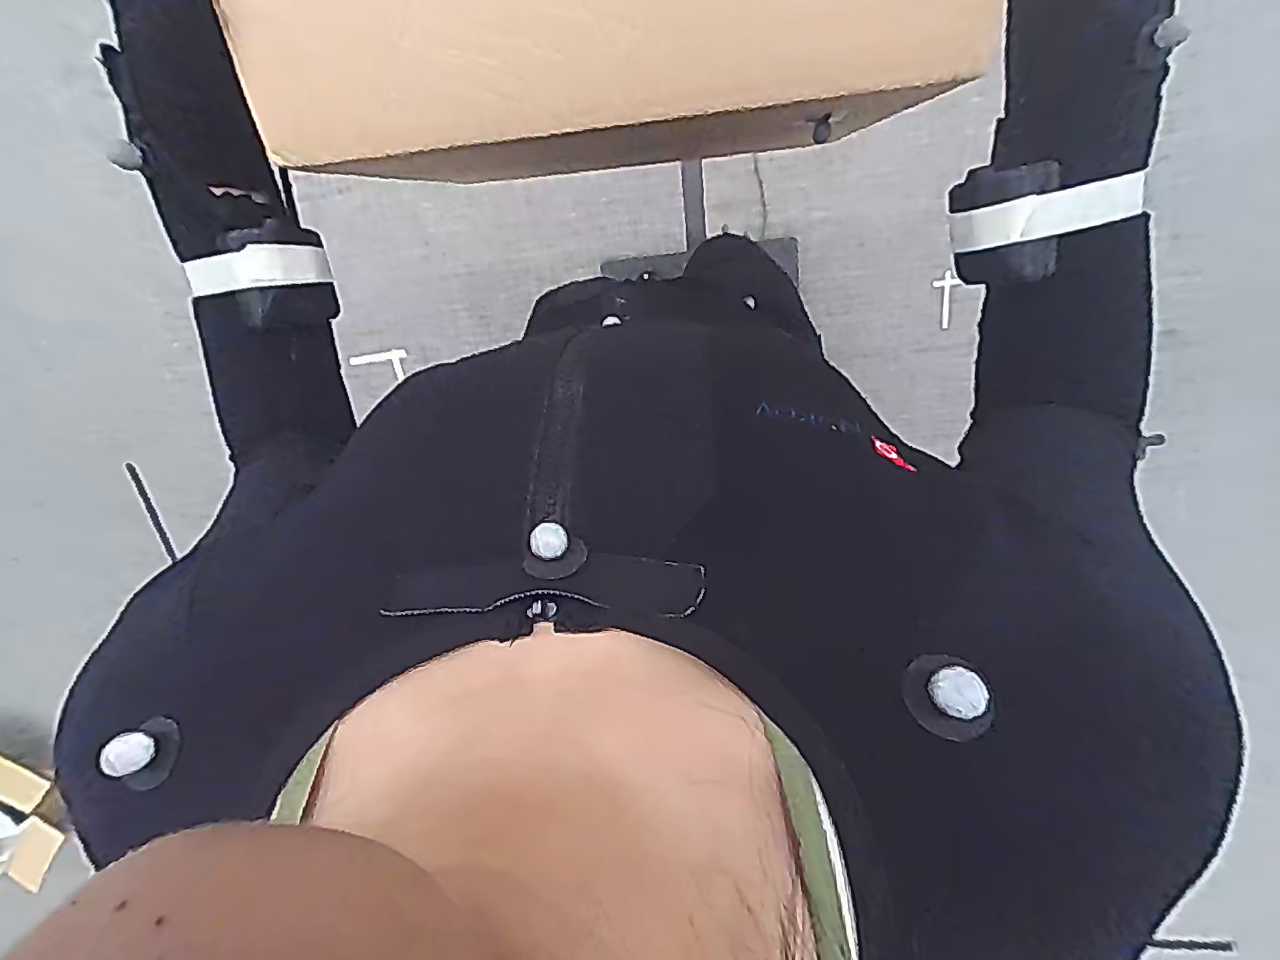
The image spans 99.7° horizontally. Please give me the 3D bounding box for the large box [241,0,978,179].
[{"bbox_3d":[-0.021,-0.412,0.380,0.408,0.320,0.320,-3,116,7],"label":"large box"}]

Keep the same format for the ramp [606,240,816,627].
[{"bbox_3d":[0.195,-0.085,1.445,0.509,0.206,0.991,-6,109,10],"label":"ramp"}]
